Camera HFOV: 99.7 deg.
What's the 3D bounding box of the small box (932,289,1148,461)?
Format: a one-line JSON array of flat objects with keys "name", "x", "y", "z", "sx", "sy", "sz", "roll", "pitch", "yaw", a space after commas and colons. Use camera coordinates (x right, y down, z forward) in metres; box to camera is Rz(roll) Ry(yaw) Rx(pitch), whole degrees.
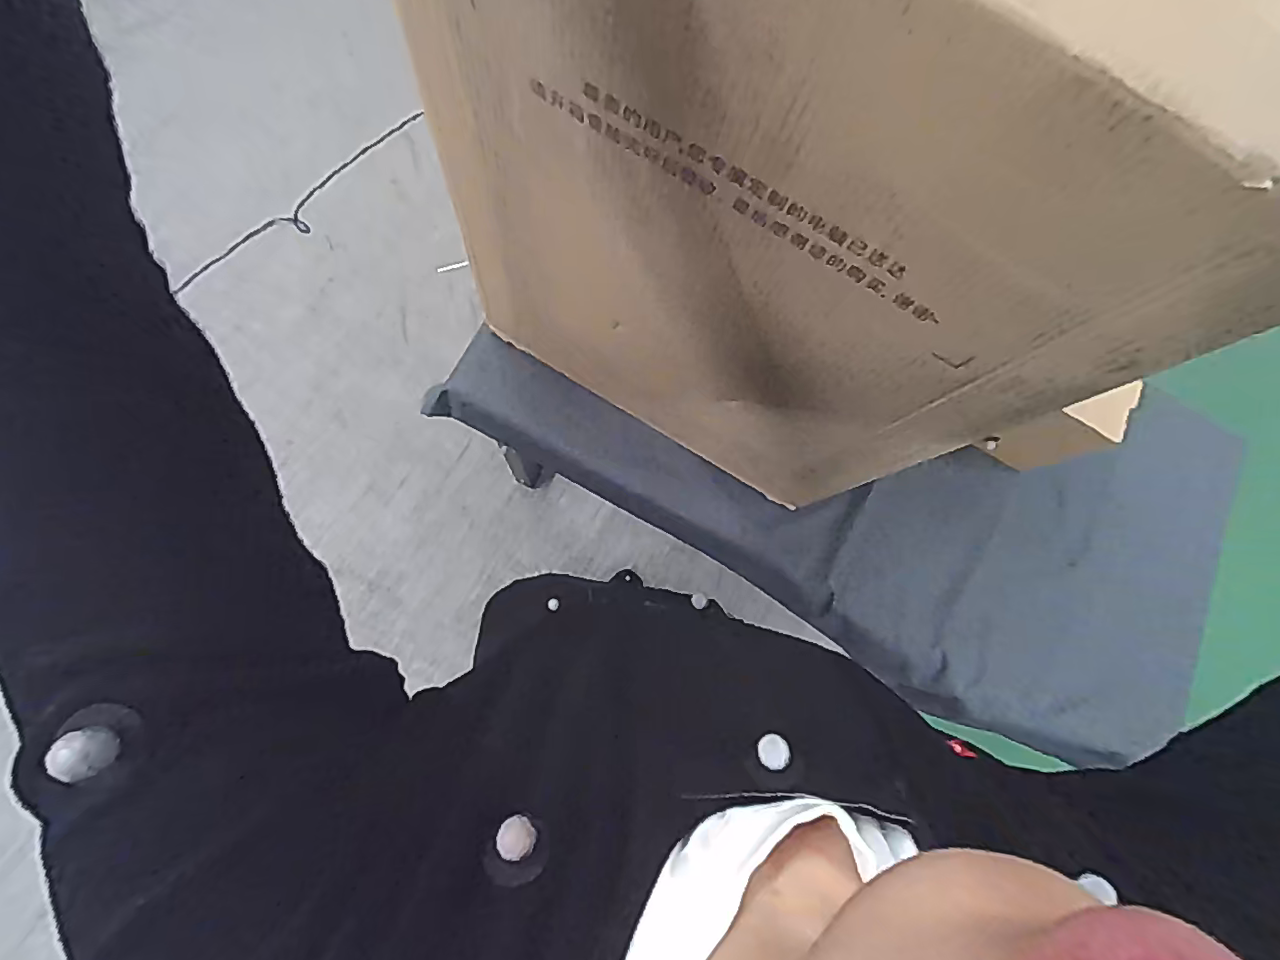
[{"name": "small box", "x": 0.591, "y": -0.143, "z": 0.818, "sx": 0.179, "sy": 0.176, "sz": 0.168, "roll": 30, "pitch": 76, "yaw": -1}]
